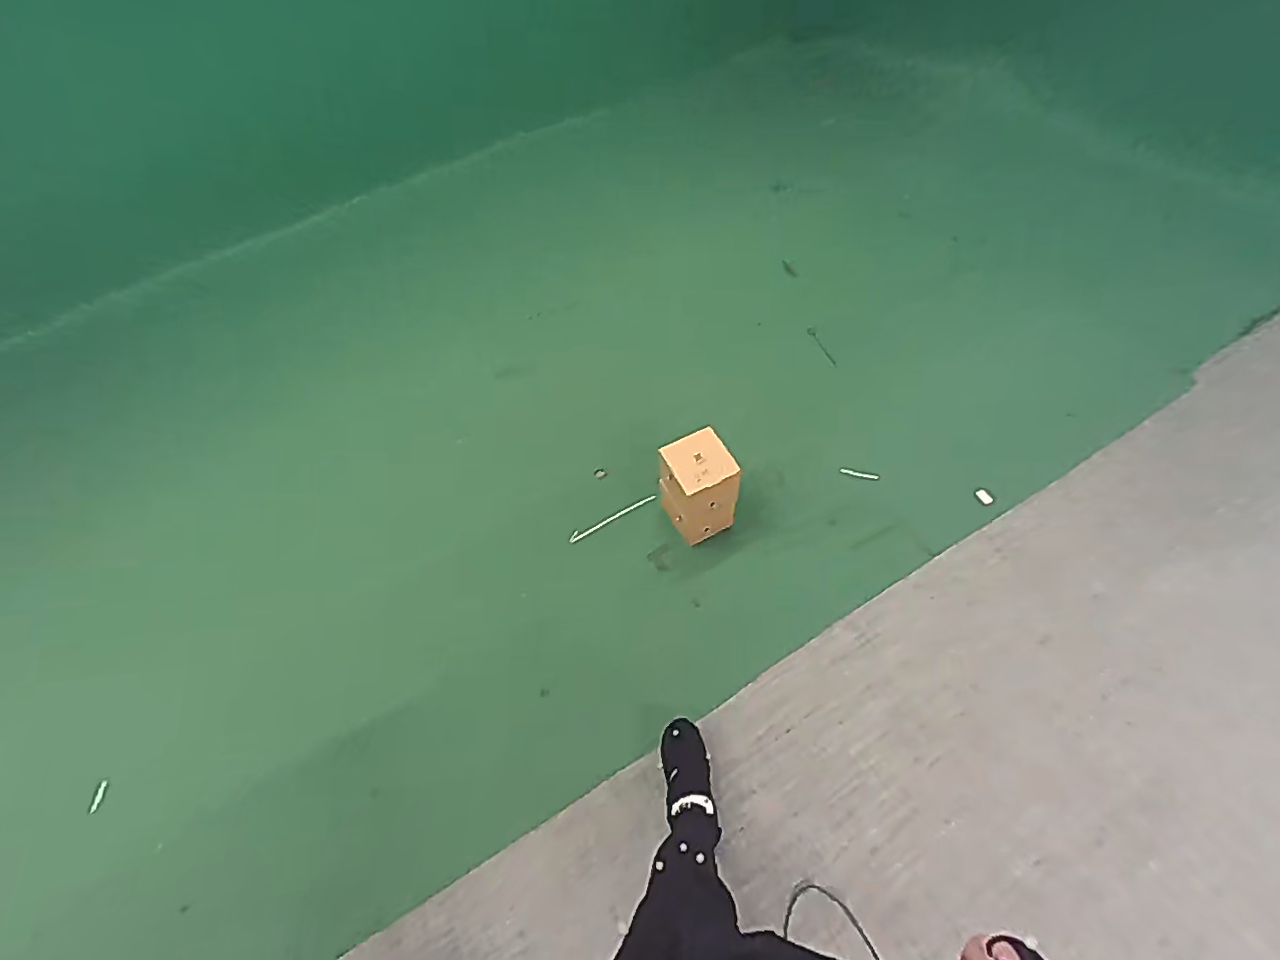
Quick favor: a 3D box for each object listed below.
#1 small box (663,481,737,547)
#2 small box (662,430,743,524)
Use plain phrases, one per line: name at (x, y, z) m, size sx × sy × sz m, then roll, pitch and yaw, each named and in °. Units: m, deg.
small box at (0.182, 0.079, 1.684) m, size 0.168 × 0.176 × 0.179 m, roll -26°, pitch 60°, yaw -10°
small box at (0.173, -0.005, 1.542) m, size 0.168 × 0.176 × 0.179 m, roll -24°, pitch 60°, yaw -9°
